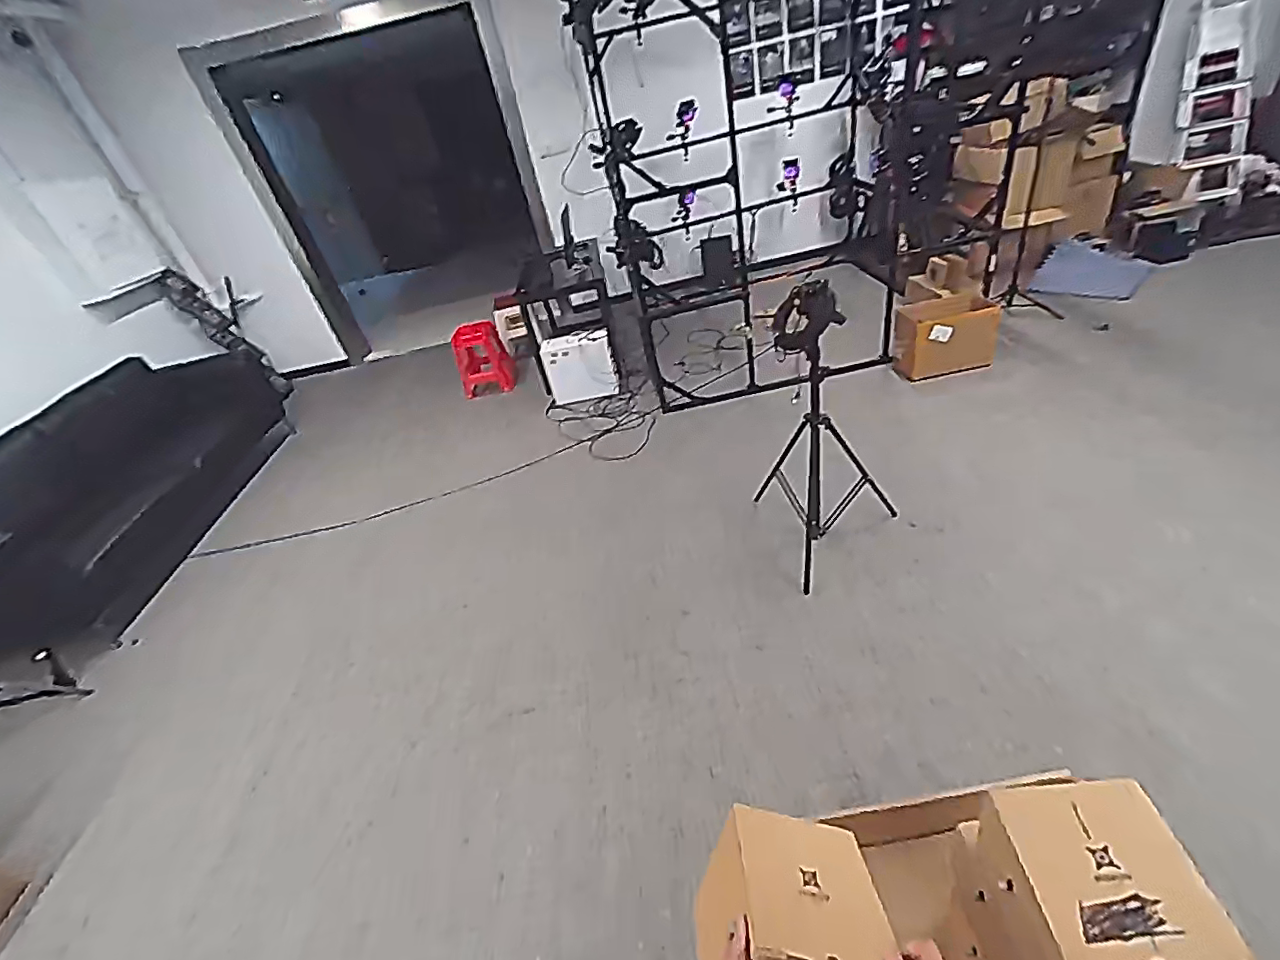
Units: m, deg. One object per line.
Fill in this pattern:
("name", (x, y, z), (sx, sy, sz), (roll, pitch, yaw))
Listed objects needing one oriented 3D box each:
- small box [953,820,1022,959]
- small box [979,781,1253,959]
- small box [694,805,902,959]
("small box", (0.562, 0.594, 0.752), (0.168, 0.176, 0.179), (-14, 36, 7))
("small box", (0.524, 0.483, 0.630), (0.168, 0.176, 0.179), (-11, 35, 11))
("small box", (0.168, 0.530, 0.626), (0.168, 0.176, 0.179), (16, 15, -4))
